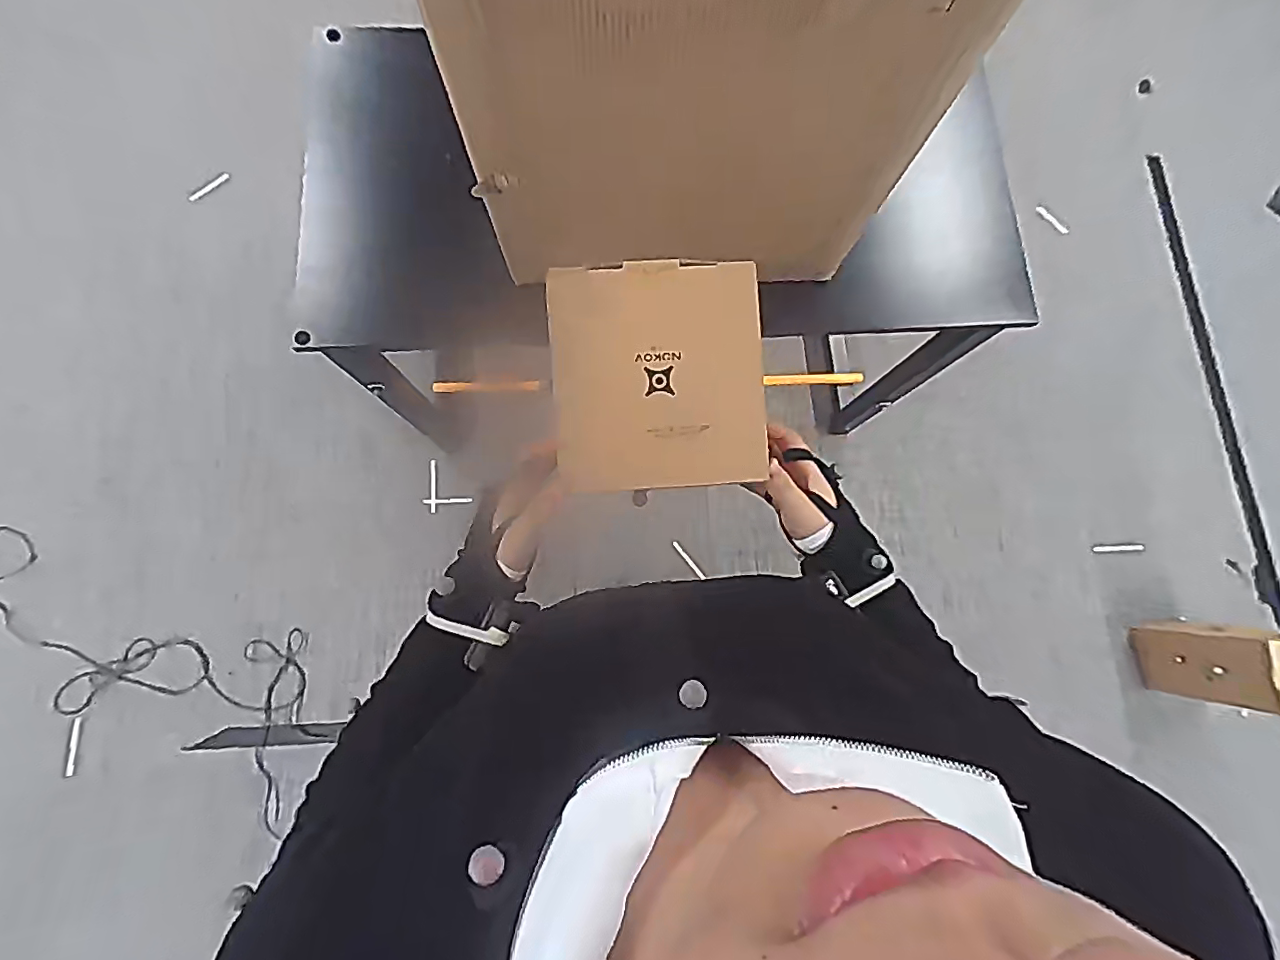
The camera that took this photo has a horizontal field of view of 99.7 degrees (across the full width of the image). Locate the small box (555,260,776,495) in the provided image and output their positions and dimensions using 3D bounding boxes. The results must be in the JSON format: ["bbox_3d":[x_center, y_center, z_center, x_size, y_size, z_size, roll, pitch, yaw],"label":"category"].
[{"bbox_3d":[0.013,-0.077,0.488,0.168,0.176,0.179,-3,89,-4],"label":"small box"}]

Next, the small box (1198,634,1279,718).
[{"bbox_3d":[1.505,0.458,1.282,0.179,0.176,0.168,-2,79,-2],"label":"small box"}]

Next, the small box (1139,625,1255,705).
[{"bbox_3d":[1.497,0.485,1.445,0.168,0.176,0.179,-6,80,-3],"label":"small box"}]
